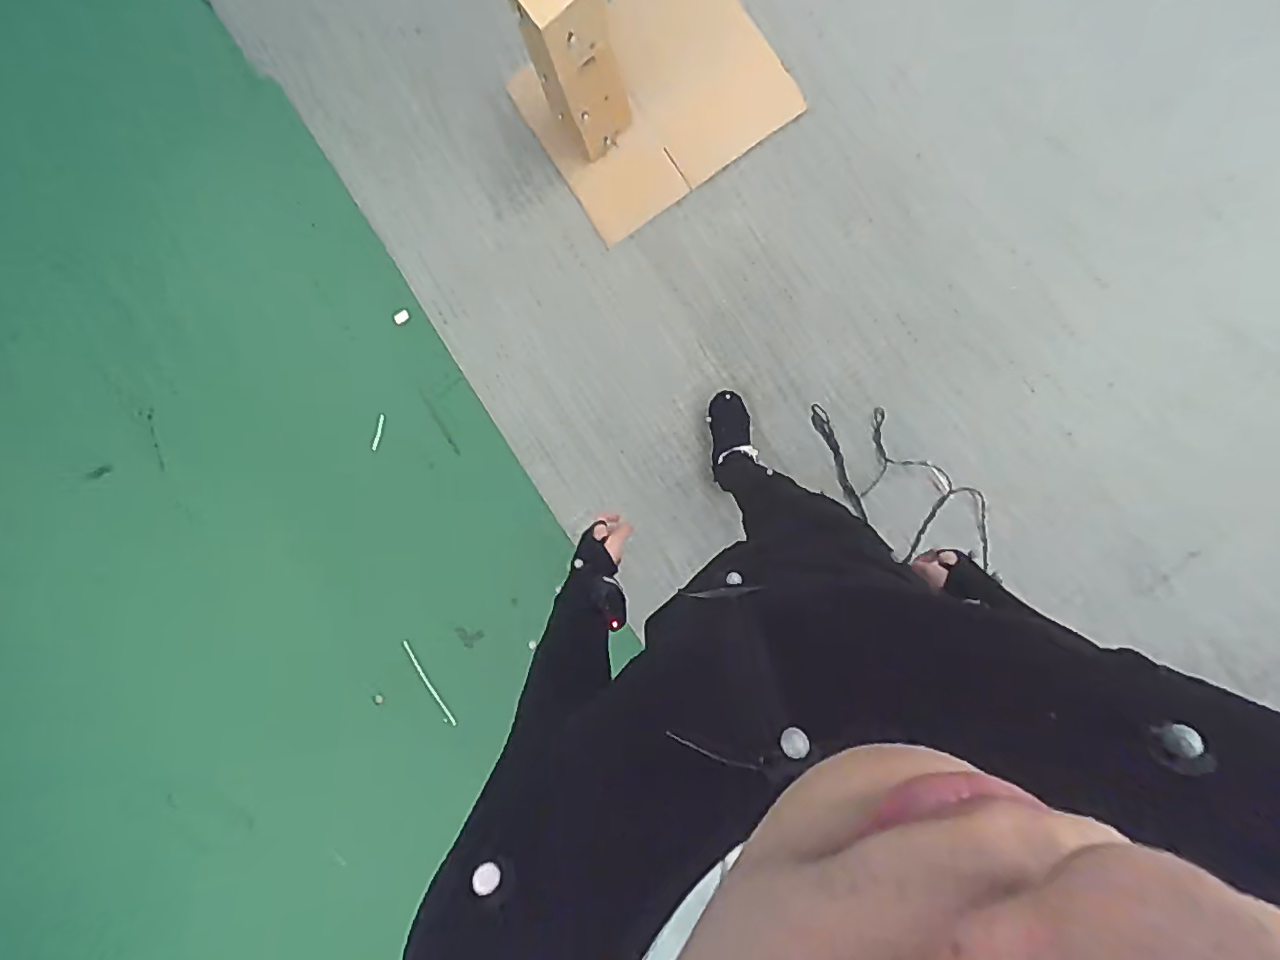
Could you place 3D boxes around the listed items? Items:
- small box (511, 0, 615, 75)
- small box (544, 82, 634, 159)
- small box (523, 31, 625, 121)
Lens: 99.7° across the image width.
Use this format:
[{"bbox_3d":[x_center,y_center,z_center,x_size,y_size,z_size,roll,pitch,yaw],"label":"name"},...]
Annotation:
[{"bbox_3d":[-0.176,-1.059,1.206,0.168,0.176,0.179,-36,86,7],"label":"small box"},{"bbox_3d":[-0.137,-1.061,1.529,0.168,0.176,0.179,-40,87,7],"label":"small box"},{"bbox_3d":[-0.158,-1.058,1.367,0.168,0.176,0.179,-37,86,7],"label":"small box"}]
